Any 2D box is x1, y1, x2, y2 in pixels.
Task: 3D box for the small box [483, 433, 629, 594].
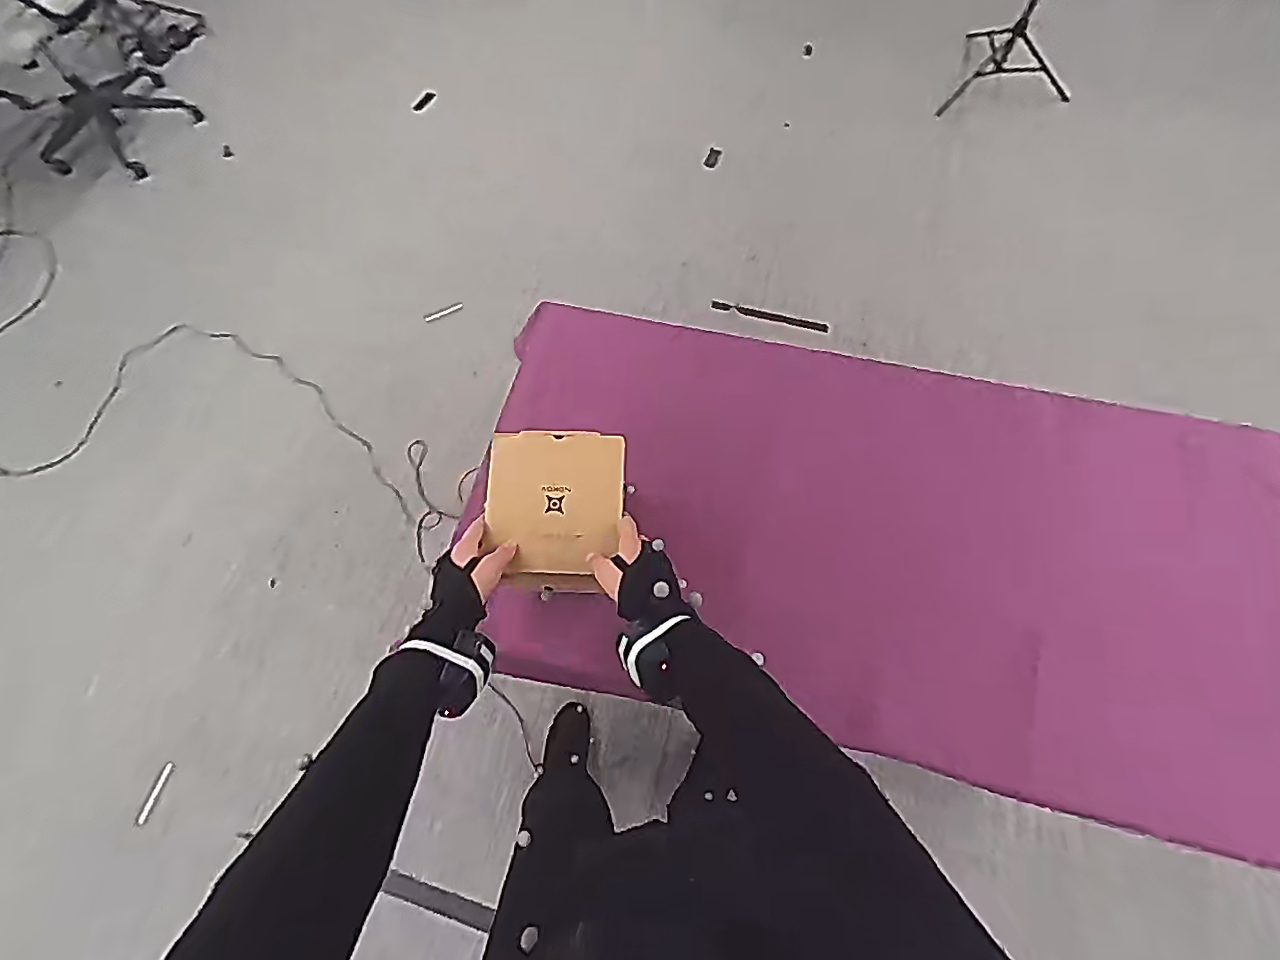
[{"bbox_3d":[-0.104,0.052,0.738,0.168,0.176,0.179,3,70,-1],"label":"small box"}]
